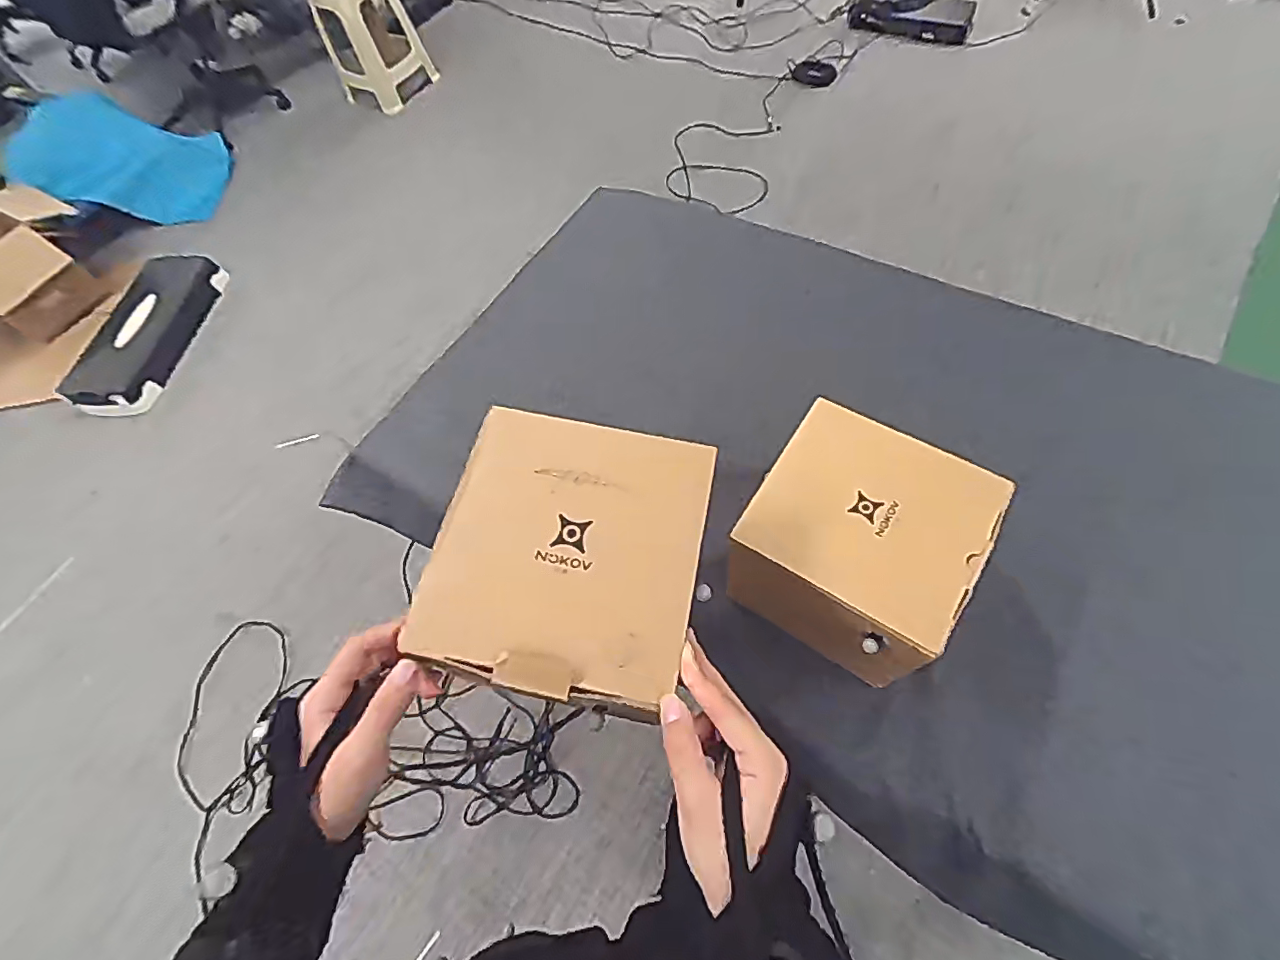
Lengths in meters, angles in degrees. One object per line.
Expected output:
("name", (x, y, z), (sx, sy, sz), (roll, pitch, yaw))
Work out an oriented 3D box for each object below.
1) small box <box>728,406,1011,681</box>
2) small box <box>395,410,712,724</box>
("small box", (0.195, 0.067, 0.512), (0.179, 0.176, 0.168), (29, 69, 20))
("small box", (-0.047, 0.076, 0.411), (0.168, 0.176, 0.179), (11, 63, 3))
